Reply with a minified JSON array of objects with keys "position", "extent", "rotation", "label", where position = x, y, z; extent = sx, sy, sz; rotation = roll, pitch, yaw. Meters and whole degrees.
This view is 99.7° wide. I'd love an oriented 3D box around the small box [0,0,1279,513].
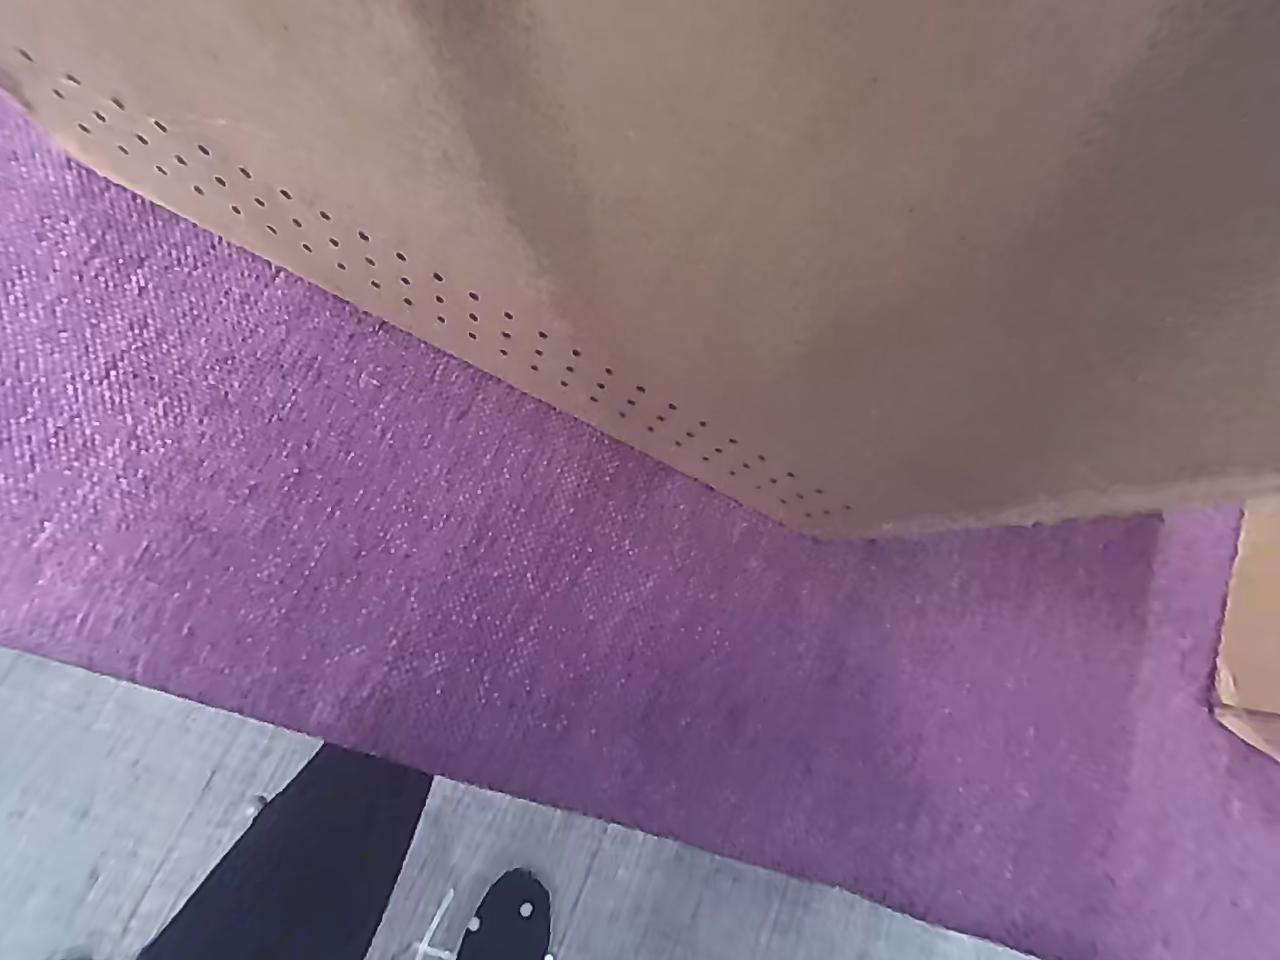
[{"position":[0.020,-0.105,0.060],"extent":[0.179,0.176,0.168],"rotation":[26,76,-9],"label":"small box"}]
